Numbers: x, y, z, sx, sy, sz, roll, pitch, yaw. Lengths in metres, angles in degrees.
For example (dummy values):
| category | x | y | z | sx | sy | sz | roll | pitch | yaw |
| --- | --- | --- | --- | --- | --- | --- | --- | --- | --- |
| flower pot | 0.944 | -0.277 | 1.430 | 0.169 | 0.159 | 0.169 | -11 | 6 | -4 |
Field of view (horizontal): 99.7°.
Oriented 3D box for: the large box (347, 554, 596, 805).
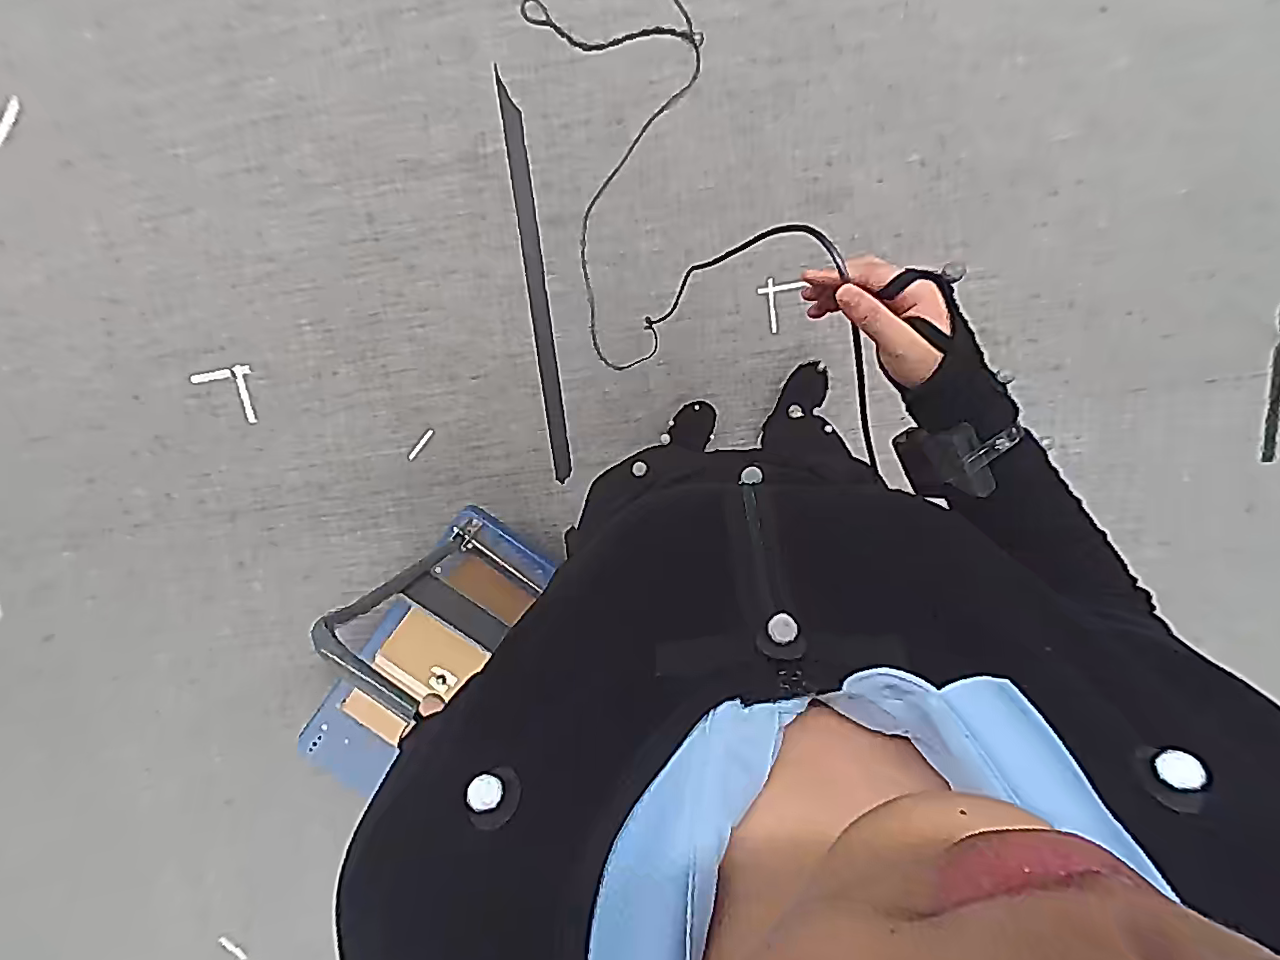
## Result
| category | x | y | z | sx | sy | sz | roll | pitch | yaw |
| --- | --- | --- | --- | --- | --- | --- | --- | --- | --- |
| large box | -0.365 | 0.444 | 1.274 | 0.408 | 0.320 | 0.320 | 37 | 99 | -3 |
